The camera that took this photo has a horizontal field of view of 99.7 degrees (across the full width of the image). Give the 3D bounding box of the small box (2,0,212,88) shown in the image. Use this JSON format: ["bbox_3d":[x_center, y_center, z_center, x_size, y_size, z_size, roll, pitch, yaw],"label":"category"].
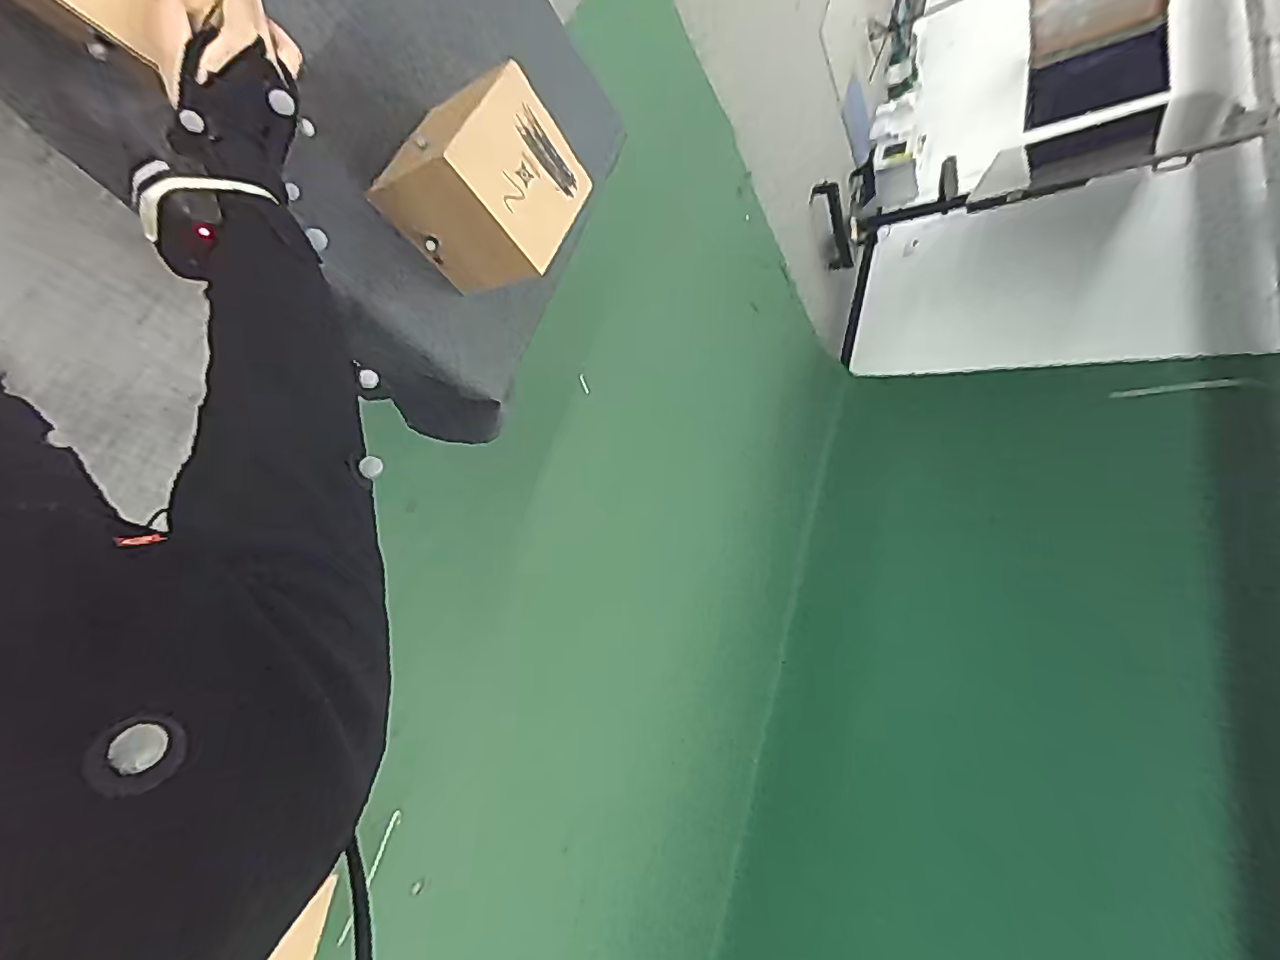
[{"bbox_3d":[-0.395,-0.406,0.364,0.179,0.176,0.168,27,93,-49],"label":"small box"}]
